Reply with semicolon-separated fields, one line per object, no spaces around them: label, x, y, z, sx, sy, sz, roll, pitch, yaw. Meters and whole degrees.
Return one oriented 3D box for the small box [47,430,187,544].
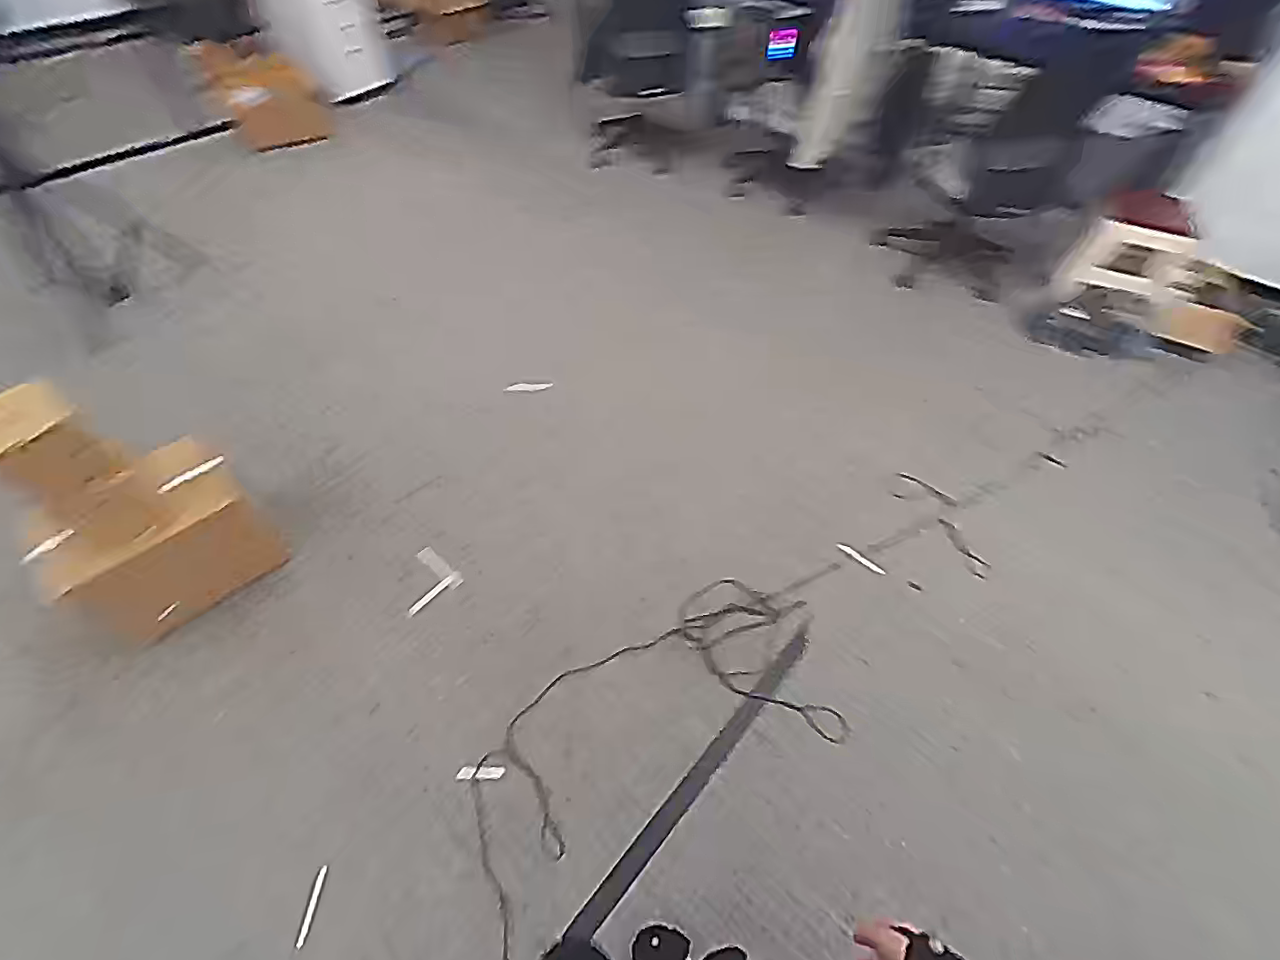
small box;-1.231;0.021;1.273;0.179;0.176;0.168;-32;62;-24

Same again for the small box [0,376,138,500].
small box;-1.238;-0.082;1.146;0.179;0.176;0.168;30;57;19
